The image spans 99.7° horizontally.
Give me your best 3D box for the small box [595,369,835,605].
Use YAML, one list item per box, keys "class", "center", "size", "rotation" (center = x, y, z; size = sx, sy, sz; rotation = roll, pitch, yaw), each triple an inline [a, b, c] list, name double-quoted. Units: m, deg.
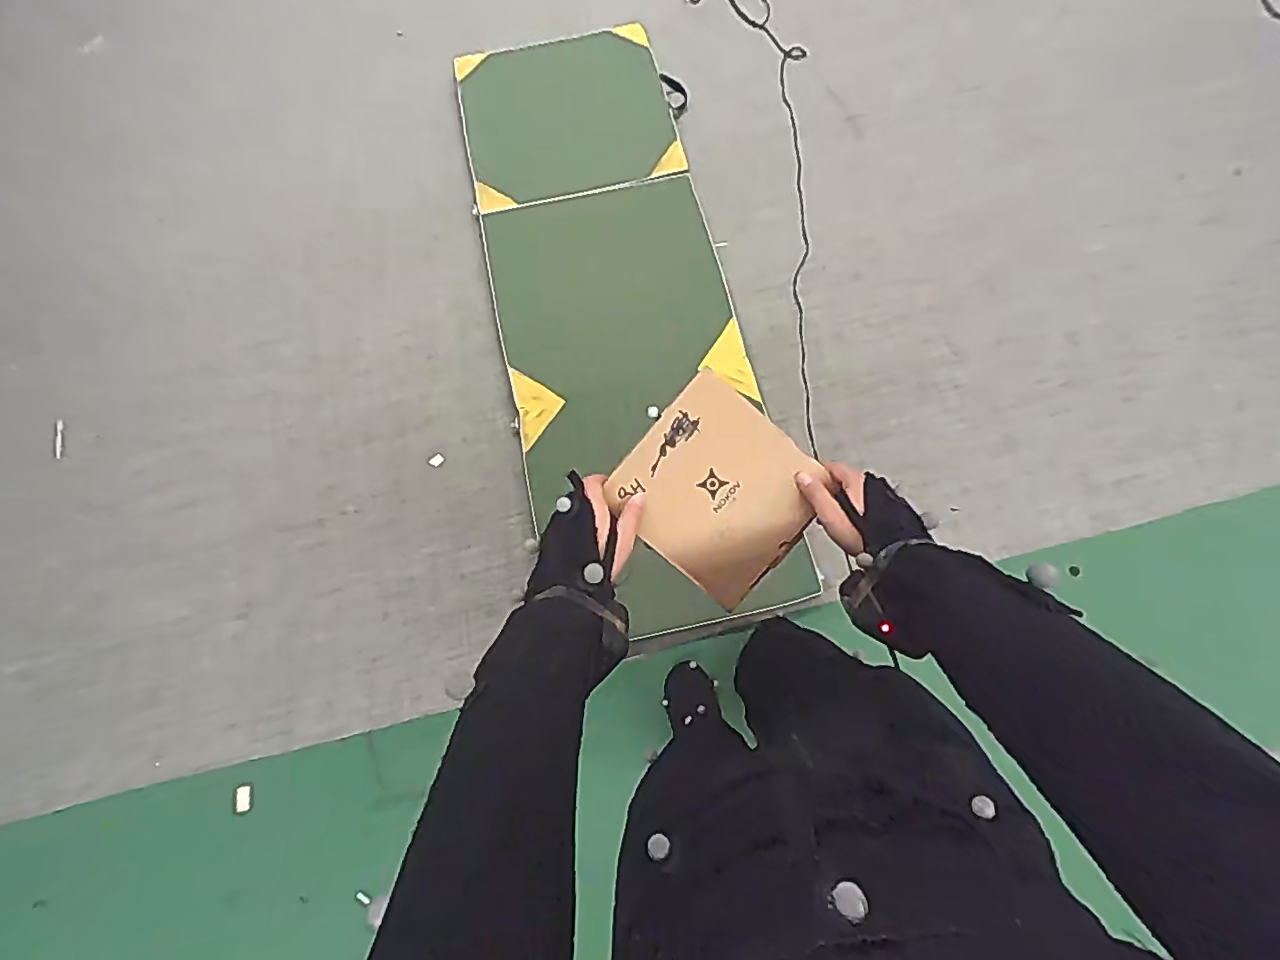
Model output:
- class: "small box"
  center: [0.072, 0.003, 0.599]
  size: [0.179, 0.176, 0.168]
  rotation: [41, 91, -3]
